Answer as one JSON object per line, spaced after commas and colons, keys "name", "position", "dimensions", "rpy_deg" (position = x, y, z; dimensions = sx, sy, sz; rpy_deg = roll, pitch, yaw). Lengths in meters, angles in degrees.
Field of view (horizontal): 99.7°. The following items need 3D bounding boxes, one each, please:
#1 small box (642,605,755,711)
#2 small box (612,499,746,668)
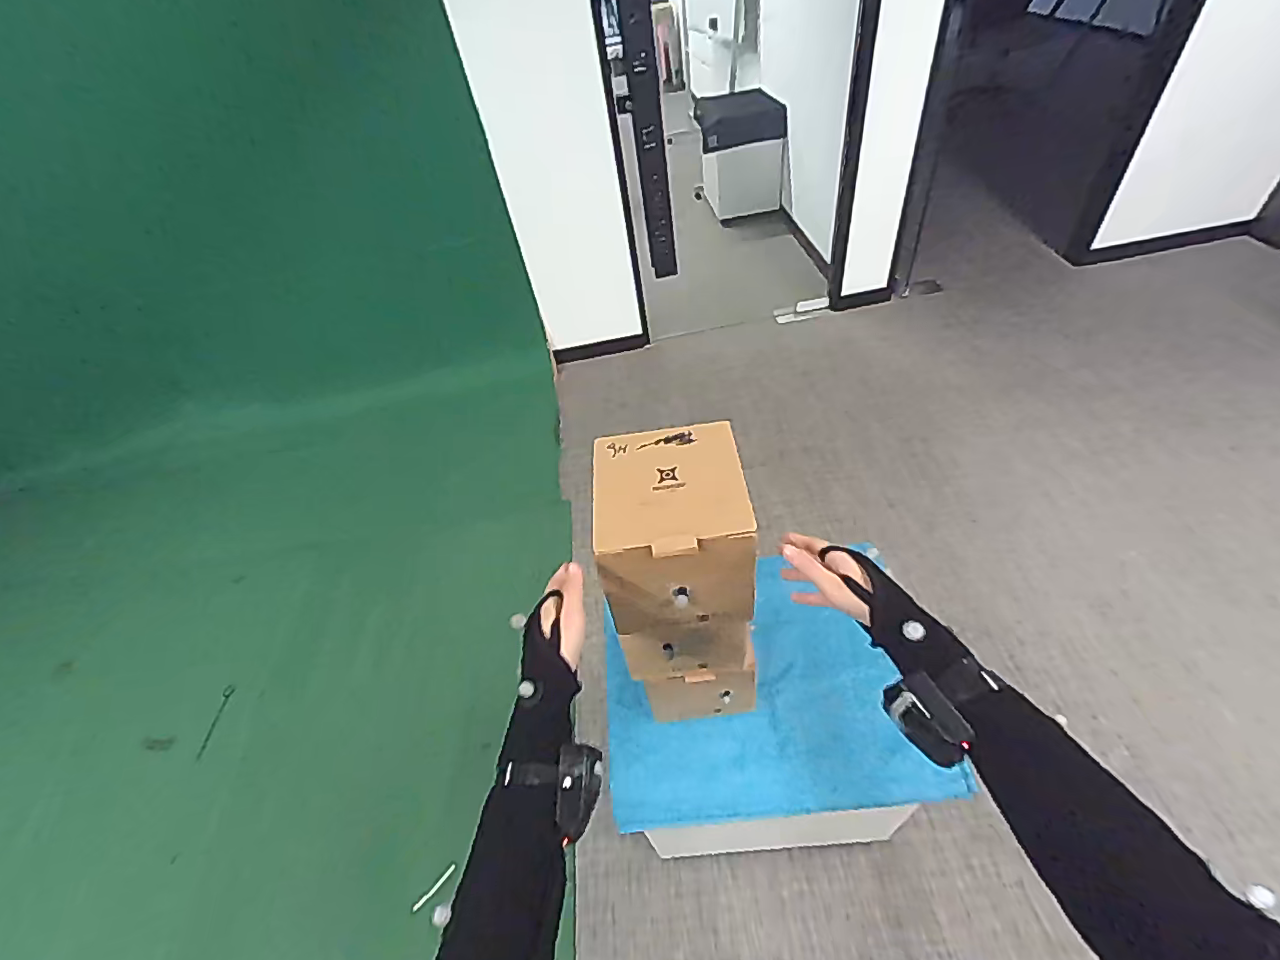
{"name": "small box", "position": [0.091, 0.261, 0.882], "dimensions": [0.168, 0.176, 0.179], "rpy_deg": [-7, 46, 3]}
{"name": "small box", "position": [0.057, 0.153, 0.766], "dimensions": [0.168, 0.176, 0.179], "rpy_deg": [-6, 45, 4]}
